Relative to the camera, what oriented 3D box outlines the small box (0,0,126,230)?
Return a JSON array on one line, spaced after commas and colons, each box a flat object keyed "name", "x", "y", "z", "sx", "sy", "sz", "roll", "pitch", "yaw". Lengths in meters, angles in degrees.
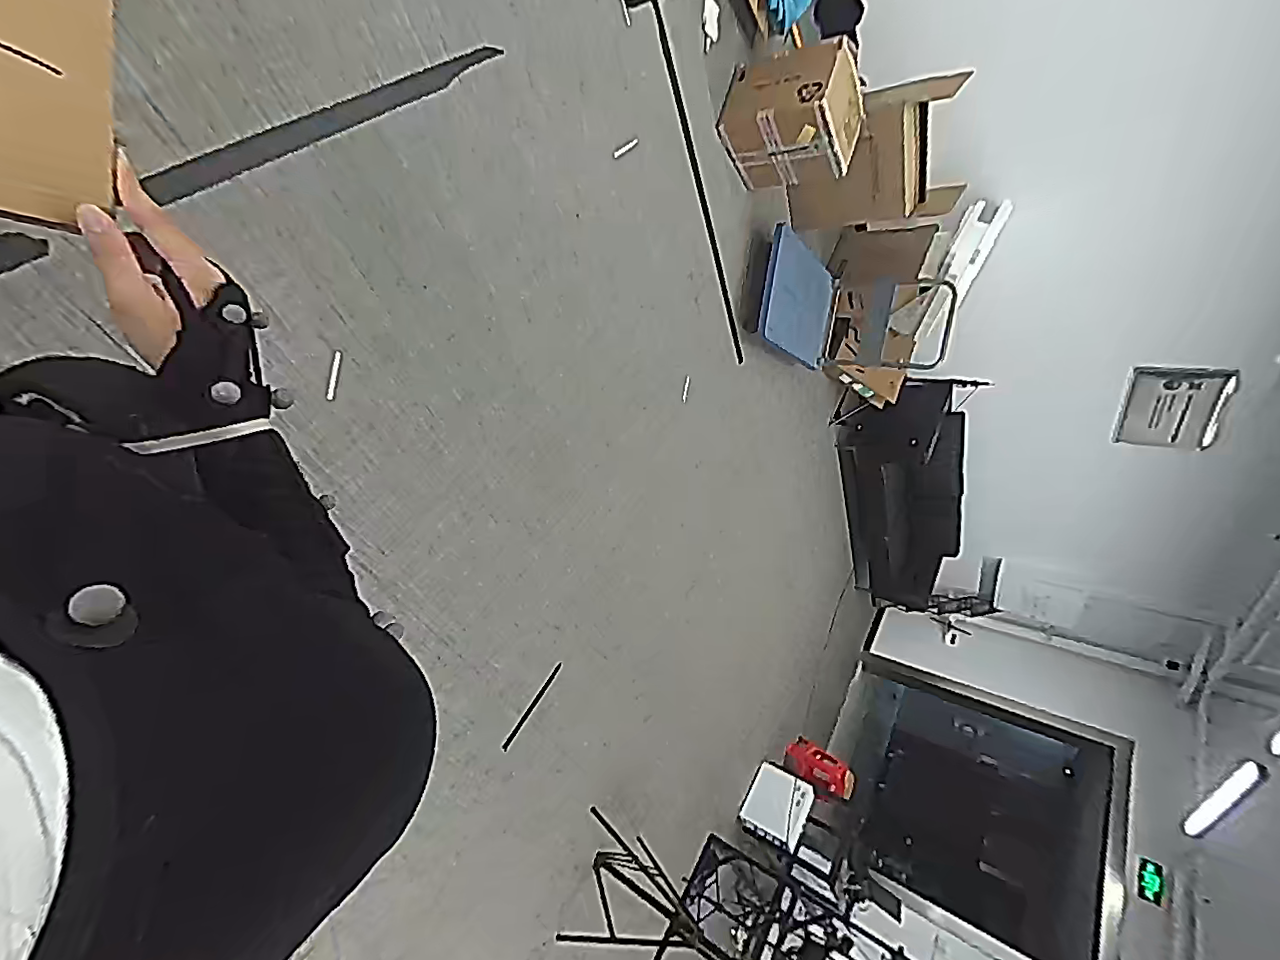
[{"name": "small box", "x": -0.411, "y": -0.247, "z": 0.295, "sx": 0.179, "sy": 0.176, "sz": 0.168, "roll": -1, "pitch": 107, "yaw": -50}]
